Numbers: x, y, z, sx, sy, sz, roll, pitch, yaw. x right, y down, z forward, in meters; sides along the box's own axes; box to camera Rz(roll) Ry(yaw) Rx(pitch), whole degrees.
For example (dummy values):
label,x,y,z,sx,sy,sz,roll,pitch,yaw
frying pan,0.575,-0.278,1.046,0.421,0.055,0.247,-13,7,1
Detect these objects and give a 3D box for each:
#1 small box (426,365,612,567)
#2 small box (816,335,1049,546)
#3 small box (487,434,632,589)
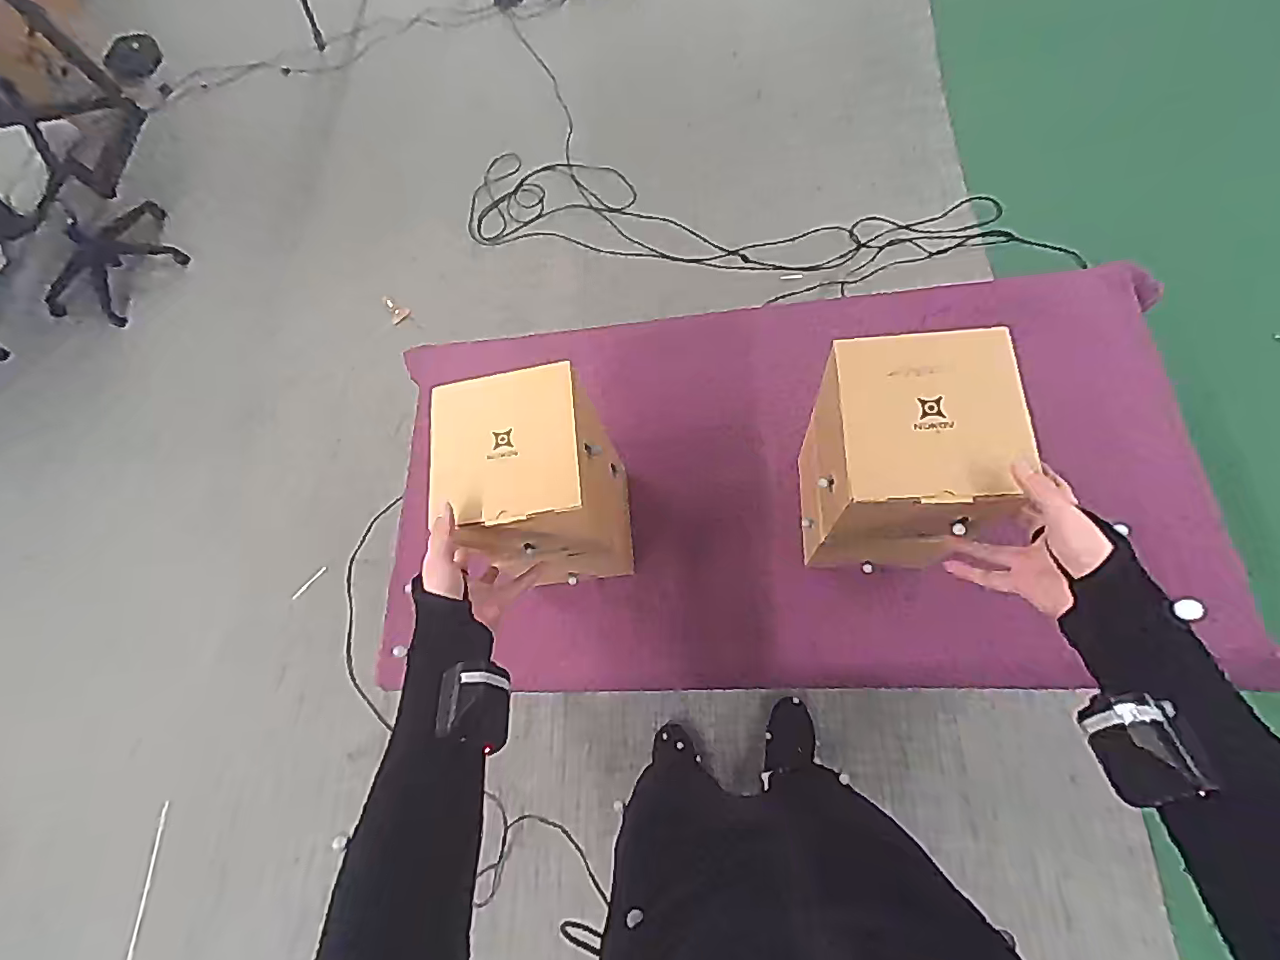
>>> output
label,x,y,z,sx,sy,sz,roll,pitch,yaw
small box,-0.133,-0.007,0.643,0.168,0.176,0.179,-9,69,6
small box,0.287,-0.029,0.576,0.168,0.176,0.179,-1,70,9
small box,-0.110,0.053,0.792,0.168,0.176,0.179,-7,69,7
